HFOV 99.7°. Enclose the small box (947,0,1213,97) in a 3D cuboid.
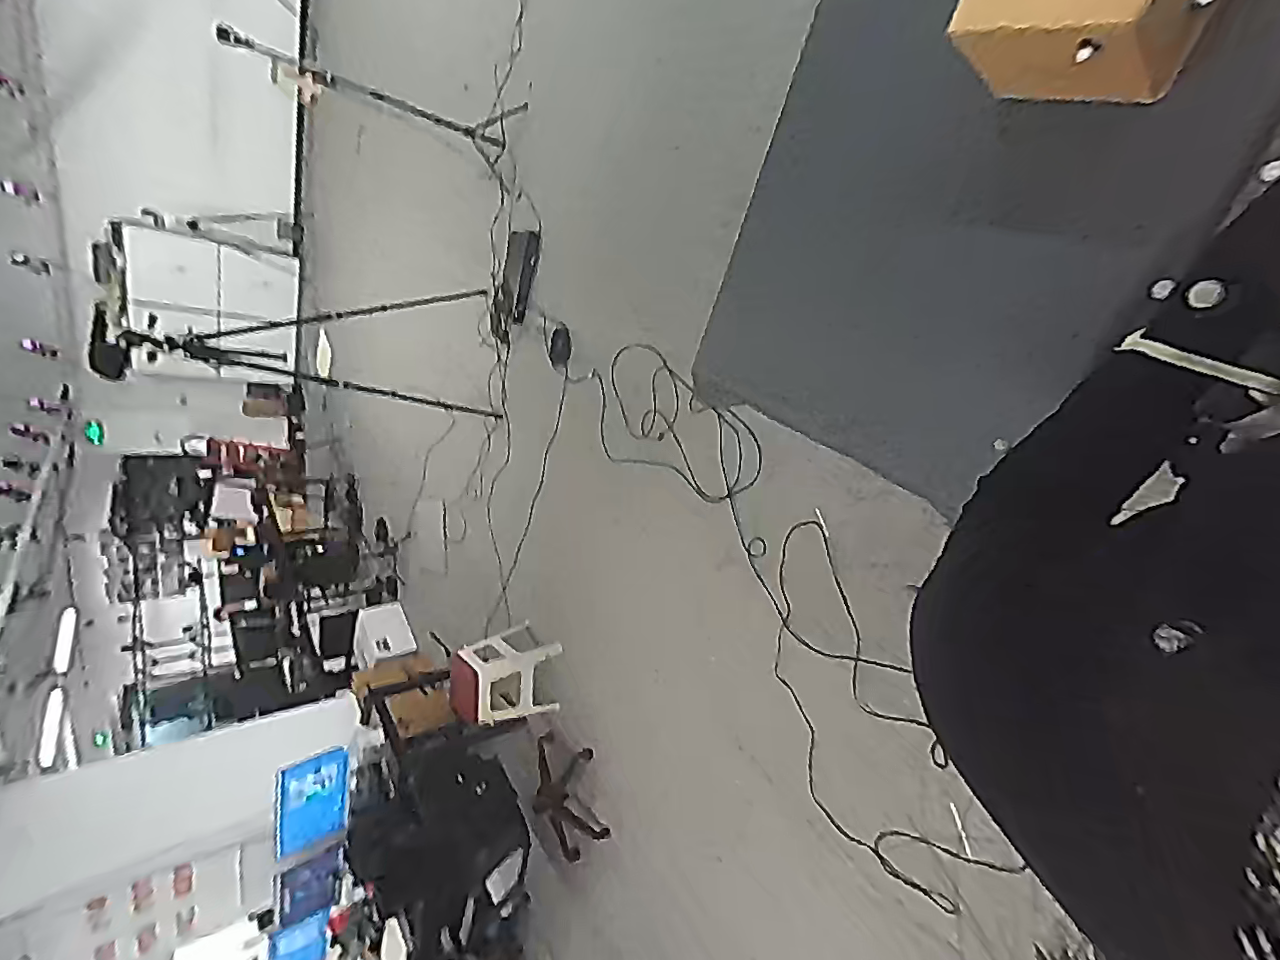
[{"bbox_3d":[0.461,-0.515,0.546,0.179,0.176,0.168,37,119,40],"label":"small box"}]
